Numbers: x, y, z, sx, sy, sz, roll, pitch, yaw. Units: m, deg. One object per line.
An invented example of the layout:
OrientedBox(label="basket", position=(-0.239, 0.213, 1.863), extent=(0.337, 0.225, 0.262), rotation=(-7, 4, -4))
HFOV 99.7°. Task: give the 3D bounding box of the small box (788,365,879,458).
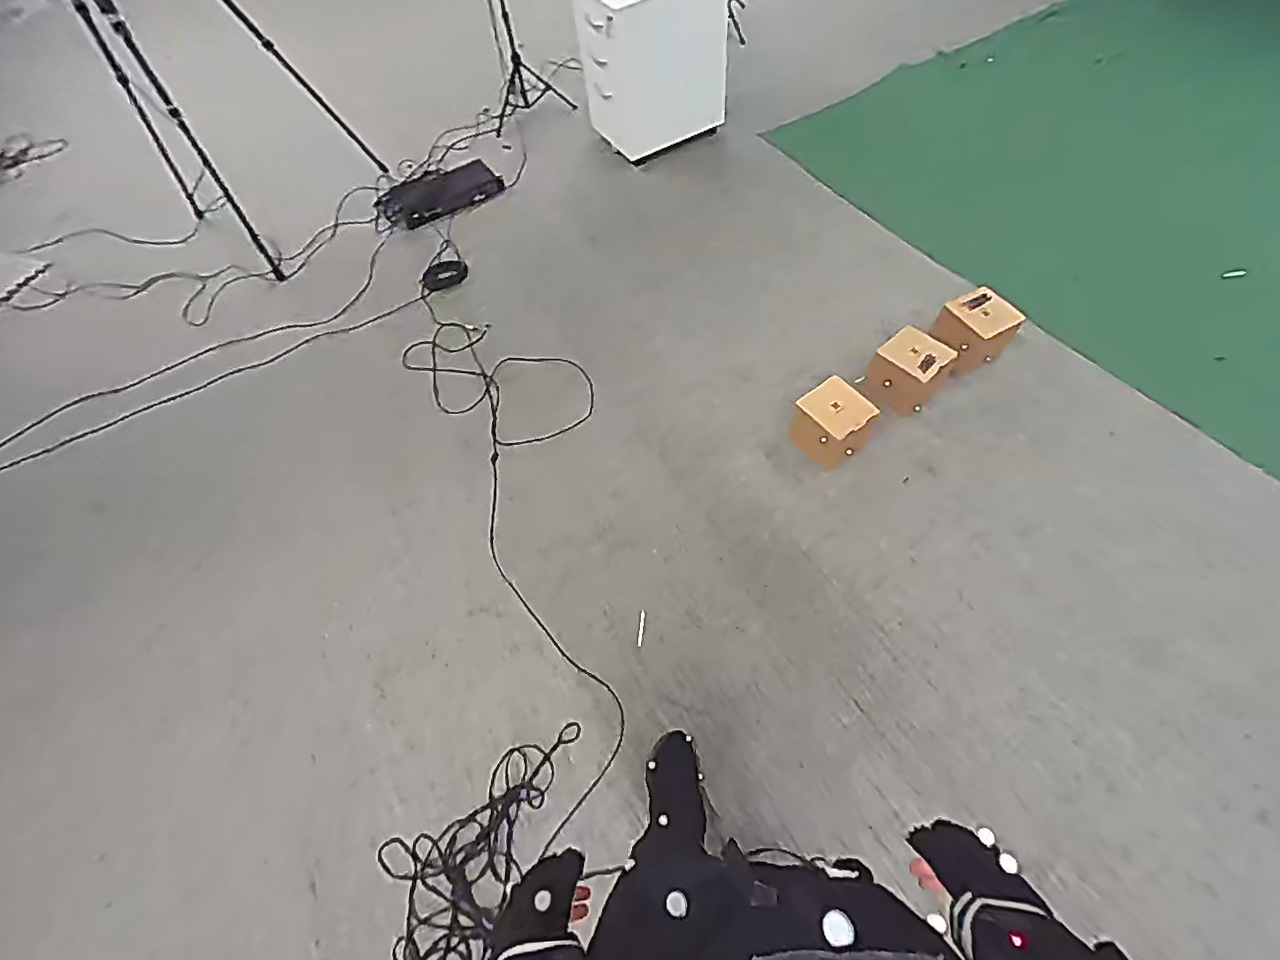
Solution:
OrientedBox(label="small box", position=(0.564, -0.199, 1.601), extent=(0.168, 0.176, 0.179), rotation=(-34, 64, -13))

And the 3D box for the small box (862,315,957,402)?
OrientedBox(label="small box", position=(0.825, -0.366, 1.670), extent=(0.168, 0.176, 0.179), rotation=(-38, 63, -15))
